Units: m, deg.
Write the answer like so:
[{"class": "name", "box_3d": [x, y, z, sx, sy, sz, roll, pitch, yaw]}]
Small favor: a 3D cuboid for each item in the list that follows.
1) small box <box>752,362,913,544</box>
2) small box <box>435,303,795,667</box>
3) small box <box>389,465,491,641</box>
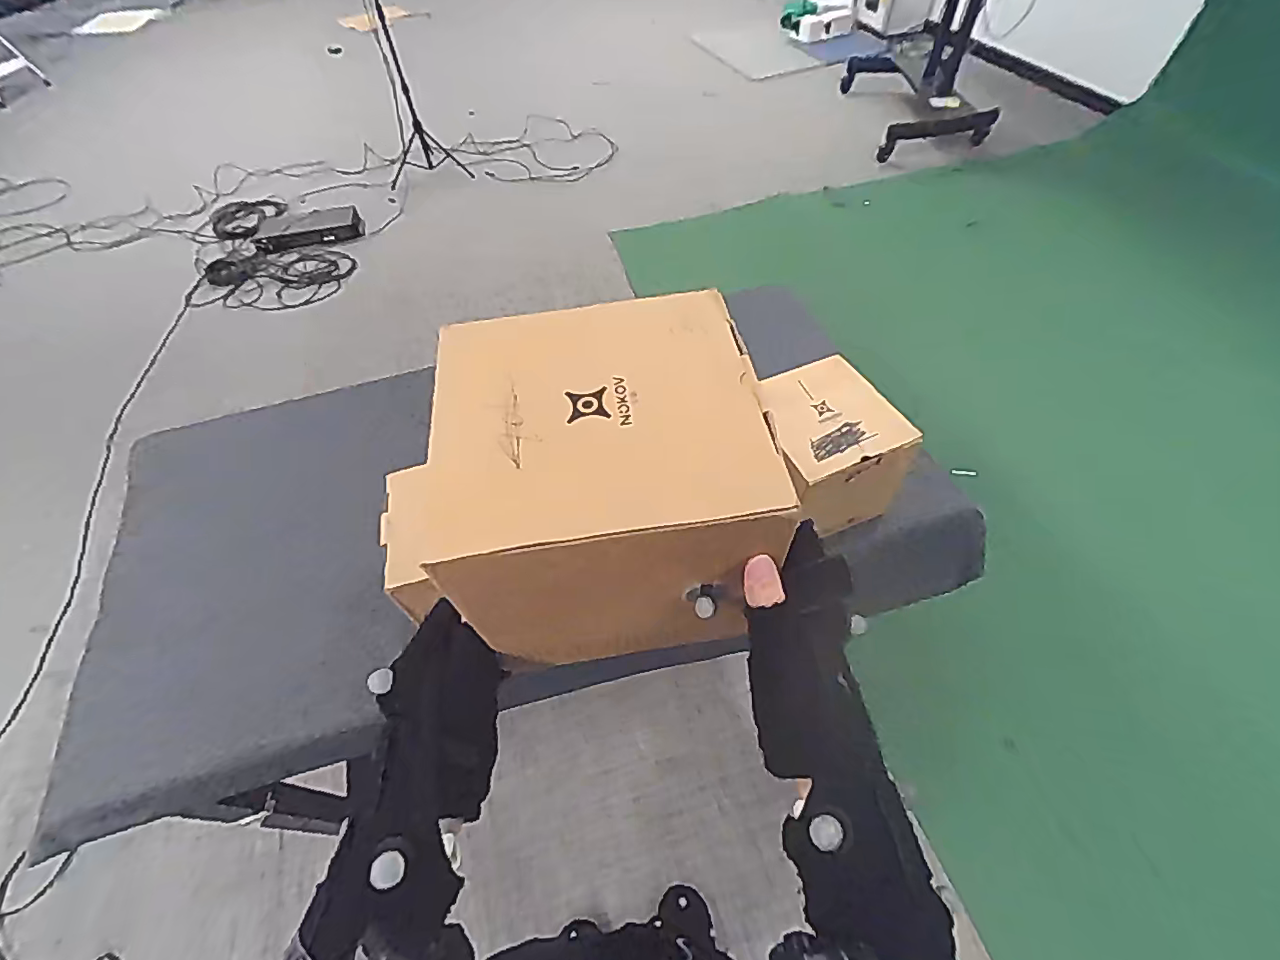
[{"class": "small box", "box_3d": [0.238, -0.030, 0.764, 0.168, 0.176, 0.179, -20, 53, -11]}, {"class": "small box", "box_3d": [-0.016, 0.010, 0.366, 0.179, 0.176, 0.168, -10, 53, -1]}, {"class": "small box", "box_3d": [-0.201, 0.087, 0.699, 0.179, 0.176, 0.168, -13, 53, -7]}]
